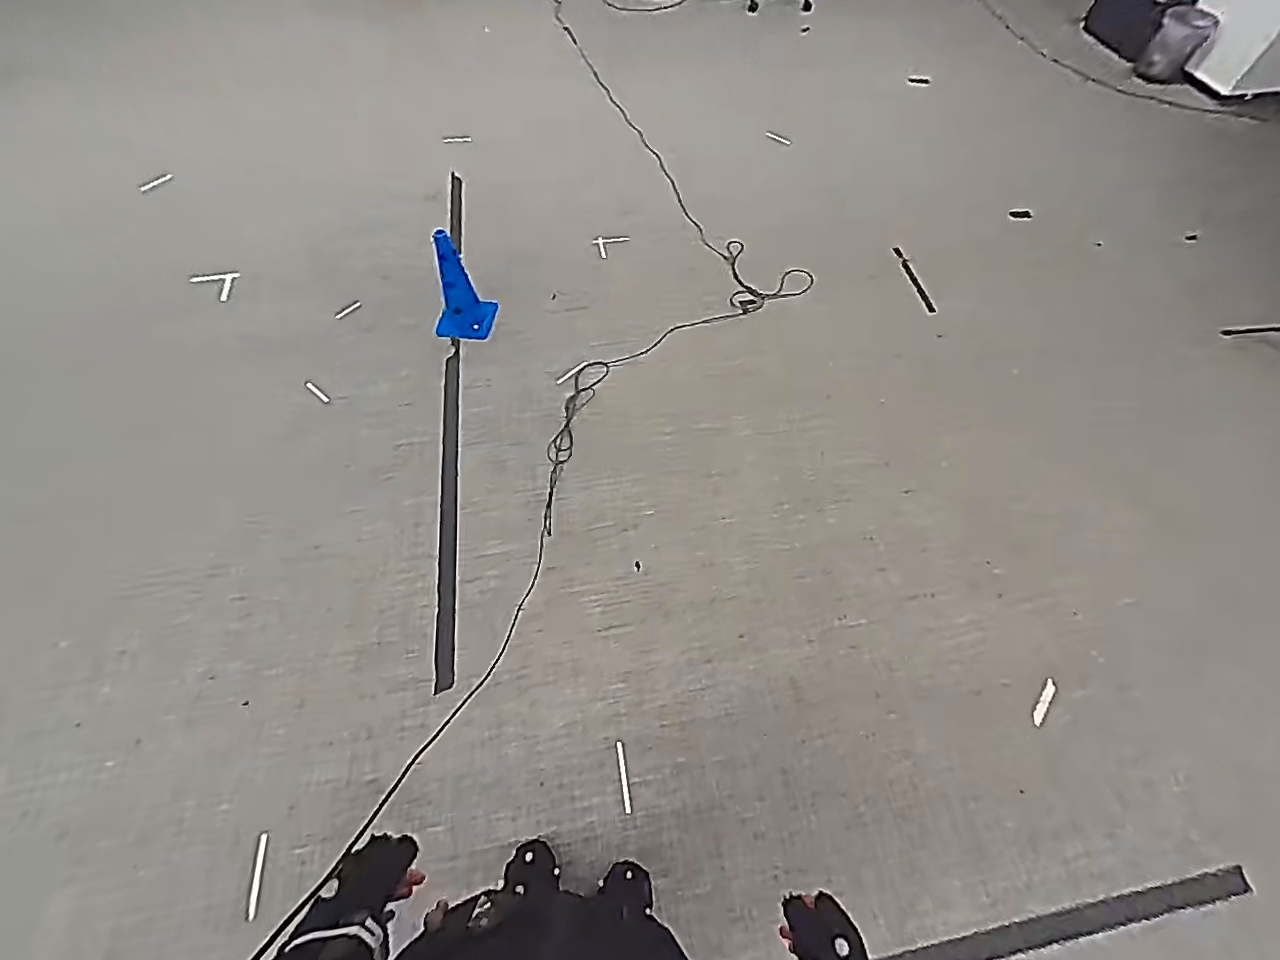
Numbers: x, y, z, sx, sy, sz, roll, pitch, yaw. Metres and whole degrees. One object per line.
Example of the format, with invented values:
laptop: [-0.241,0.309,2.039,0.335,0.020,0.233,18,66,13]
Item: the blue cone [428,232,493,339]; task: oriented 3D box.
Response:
blue cone: [-0.655,-0.687,1.890,0.192,0.380,0.193,7,58,3]
